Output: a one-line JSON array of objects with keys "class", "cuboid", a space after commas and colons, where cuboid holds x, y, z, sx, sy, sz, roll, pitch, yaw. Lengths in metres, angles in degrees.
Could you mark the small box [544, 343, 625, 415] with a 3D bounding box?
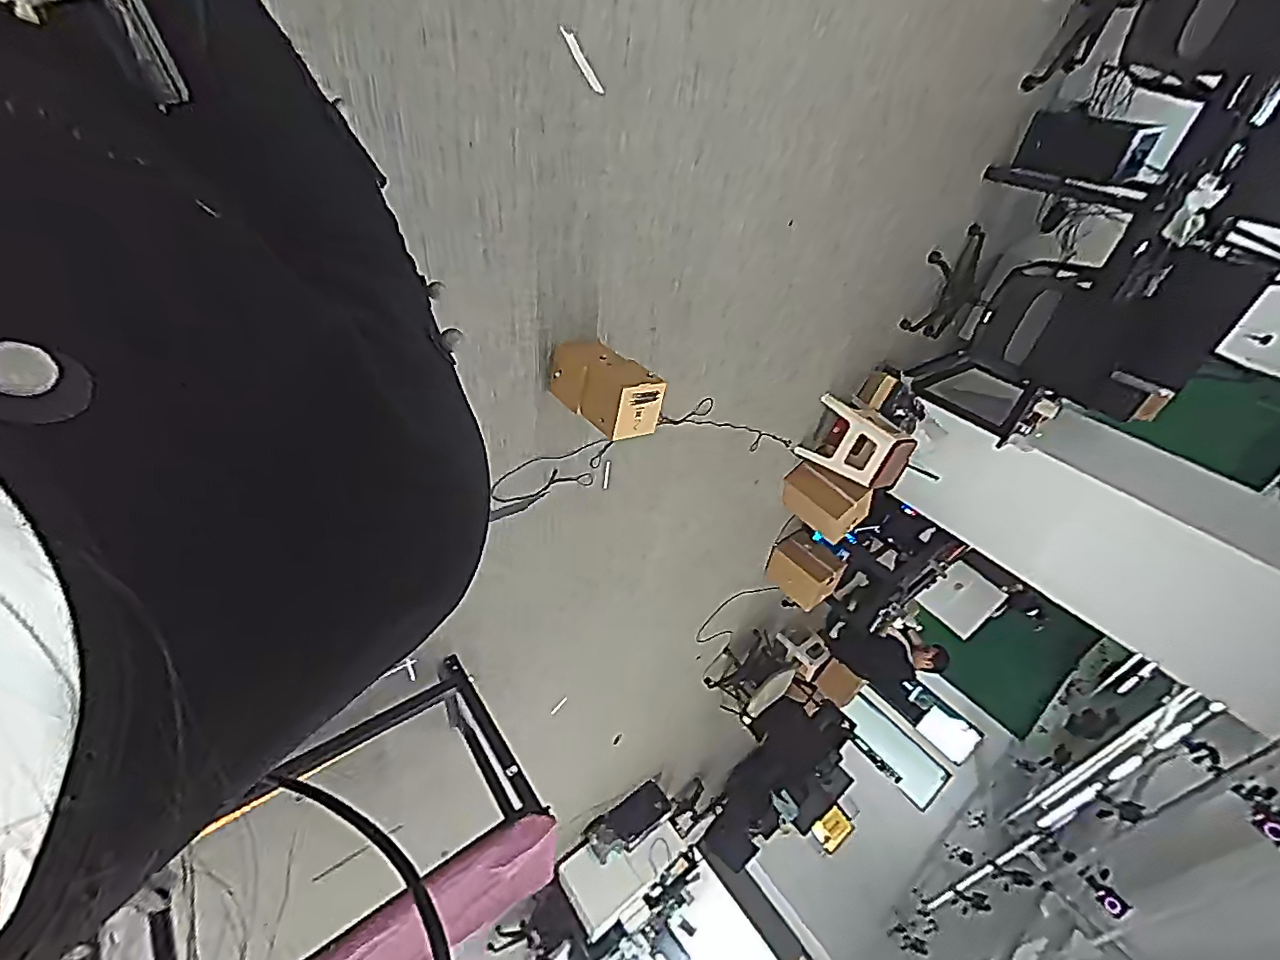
[{"class": "small box", "cuboid": [-0.180, -0.327, 1.718, 0.179, 0.176, 0.168, -14, 131, -38]}]
